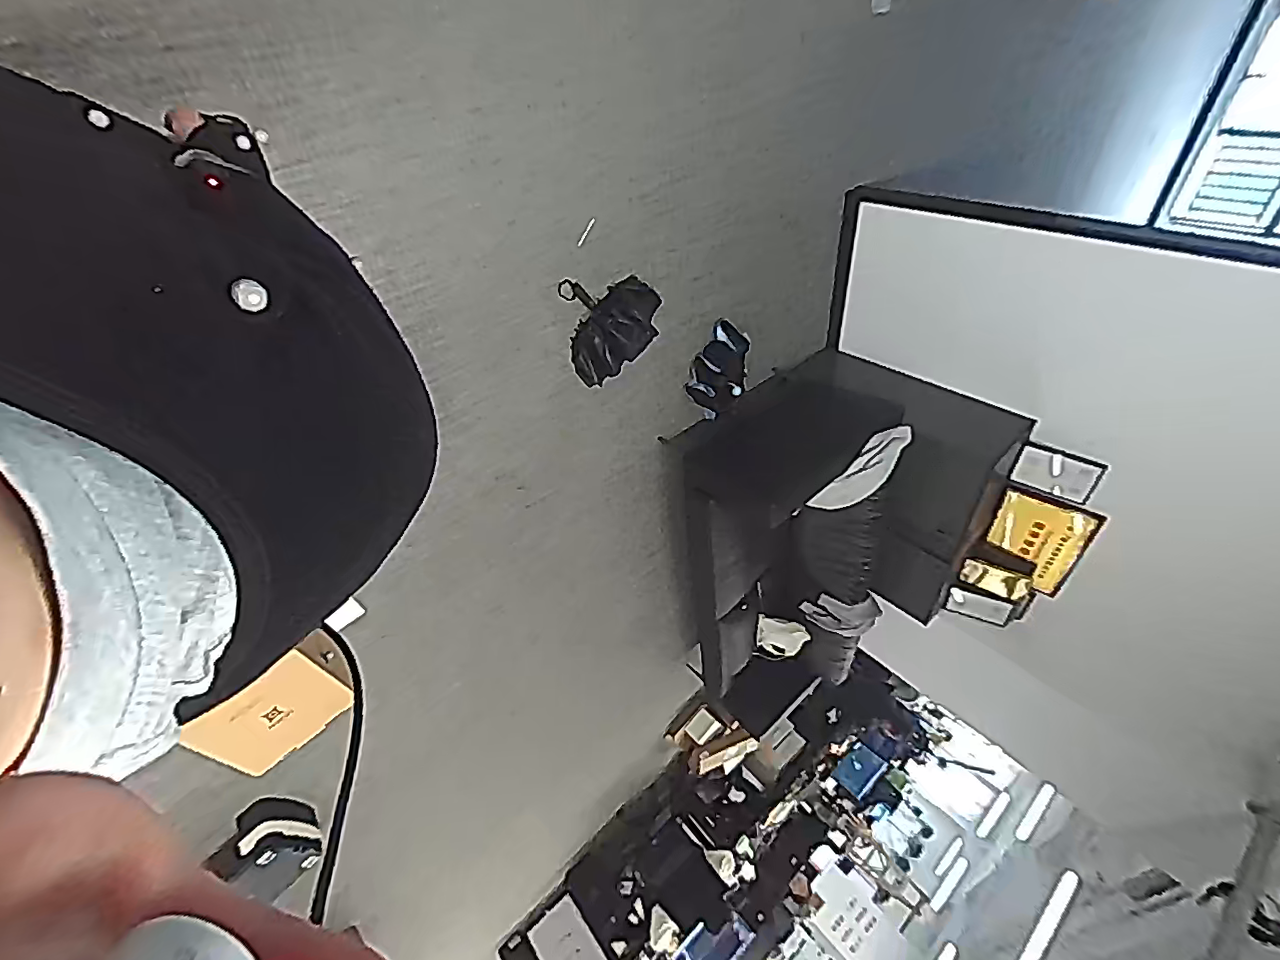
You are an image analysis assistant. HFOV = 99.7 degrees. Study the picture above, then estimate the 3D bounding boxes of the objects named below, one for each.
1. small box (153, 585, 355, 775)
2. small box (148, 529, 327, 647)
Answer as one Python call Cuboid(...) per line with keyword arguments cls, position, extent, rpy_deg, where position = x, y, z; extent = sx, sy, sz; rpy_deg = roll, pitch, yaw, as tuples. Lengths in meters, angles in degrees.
Cuboid(cls="small box", position=(-0.569, 0.290, 0.806), extent=(0.168, 0.176, 0.179), rpy_deg=(-38, 139, -21))
Cuboid(cls="small box", position=(-0.671, 0.216, 0.909), extent=(0.168, 0.176, 0.179), rpy_deg=(-36, 140, -22))
